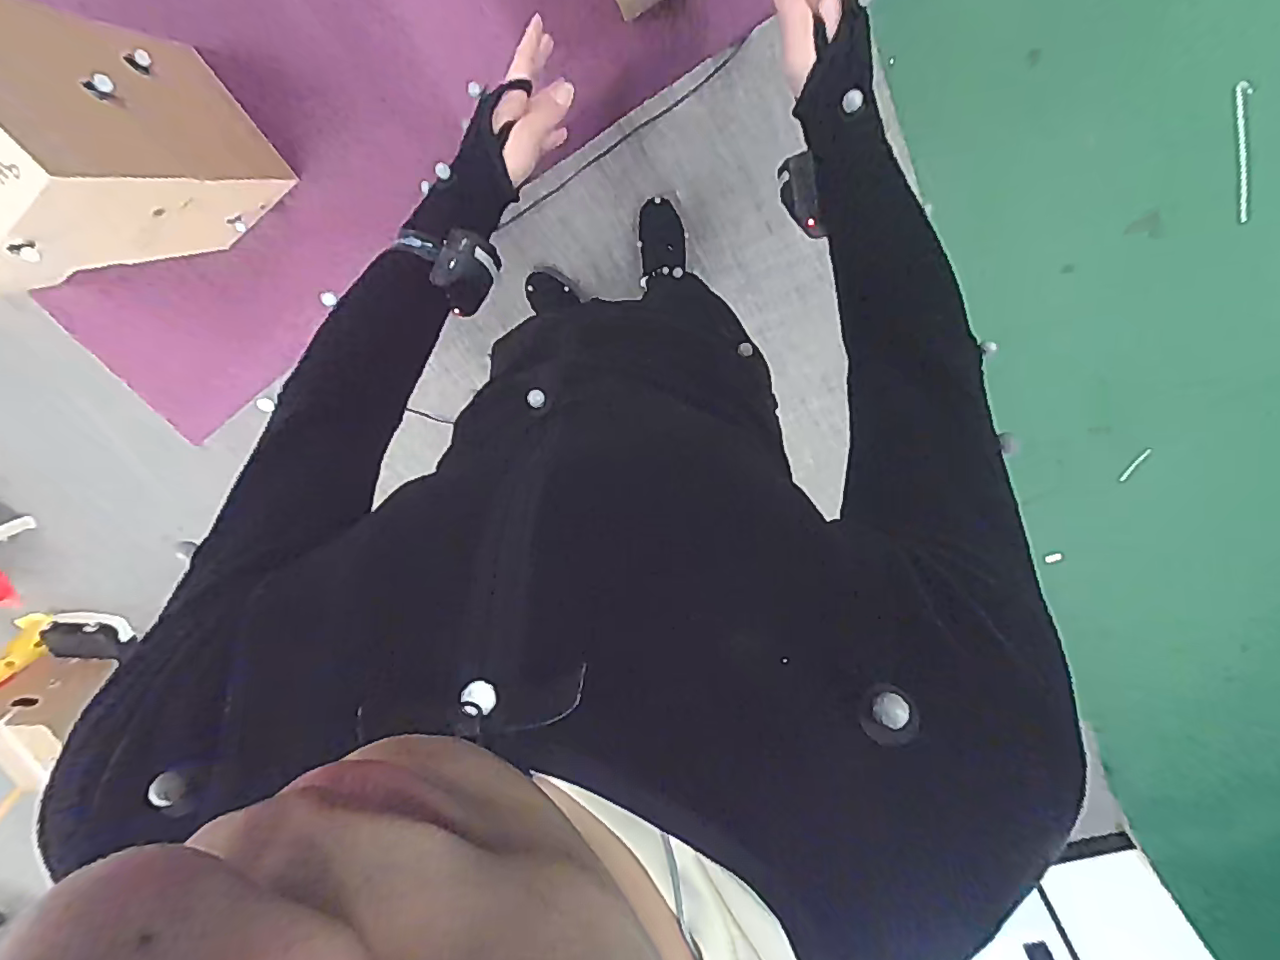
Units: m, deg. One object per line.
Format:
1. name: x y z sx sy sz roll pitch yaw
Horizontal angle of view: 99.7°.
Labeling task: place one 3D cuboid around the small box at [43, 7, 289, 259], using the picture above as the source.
1. small box: -0.580 -0.395 0.644 0.168 0.176 0.179 -27 115 18

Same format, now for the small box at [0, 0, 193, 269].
1. small box: -0.590 -0.314 0.500 0.168 0.176 0.179 -28 114 18
